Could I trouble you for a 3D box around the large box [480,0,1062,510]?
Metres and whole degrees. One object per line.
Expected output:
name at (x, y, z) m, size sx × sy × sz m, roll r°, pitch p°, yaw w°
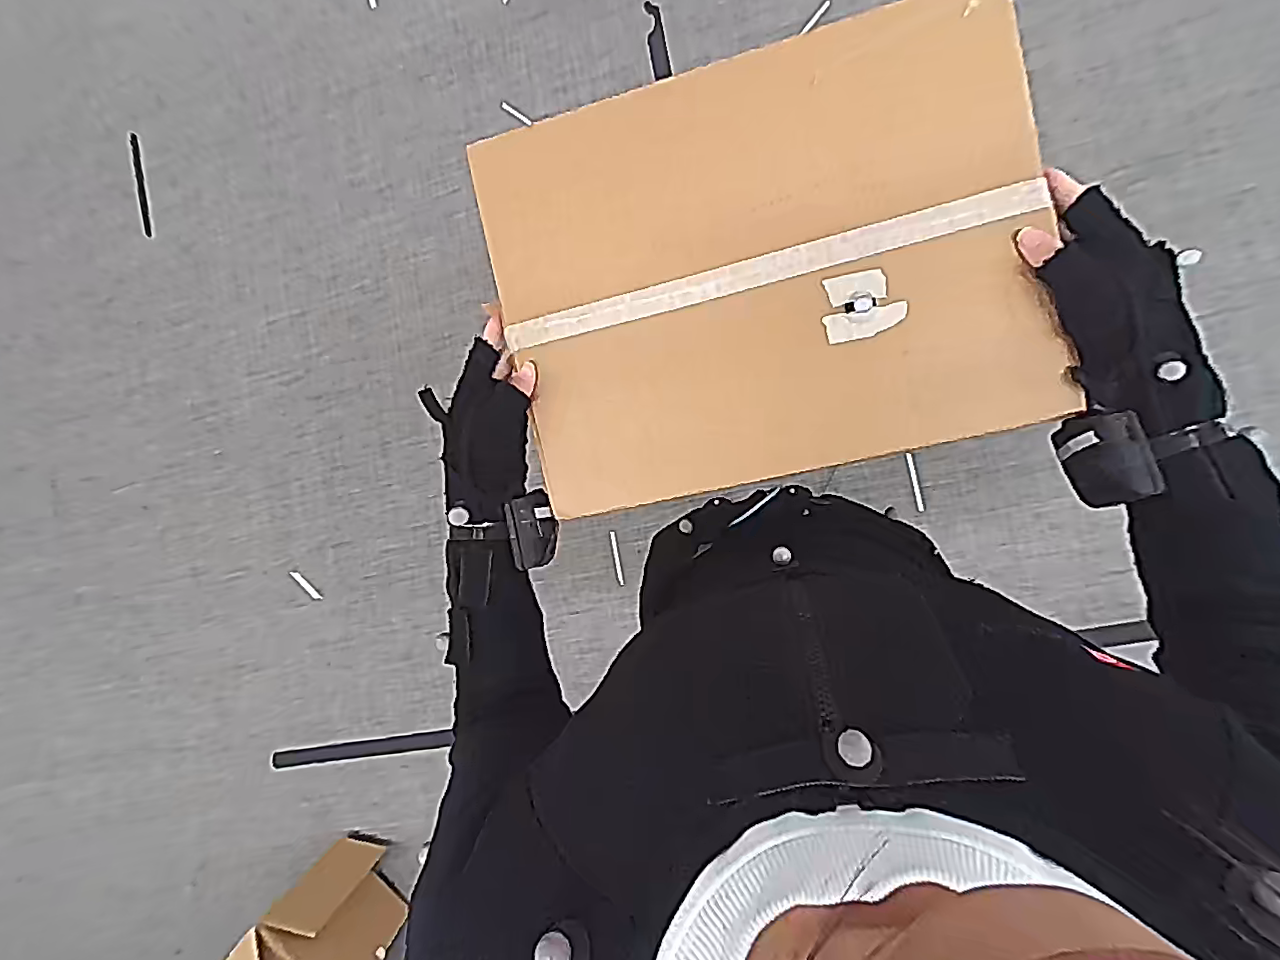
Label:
large box at (0.109, -0.177, 0.571) m, size 0.408 × 0.320 × 0.320 m, roll -13°, pitch 94°, yaw 8°
